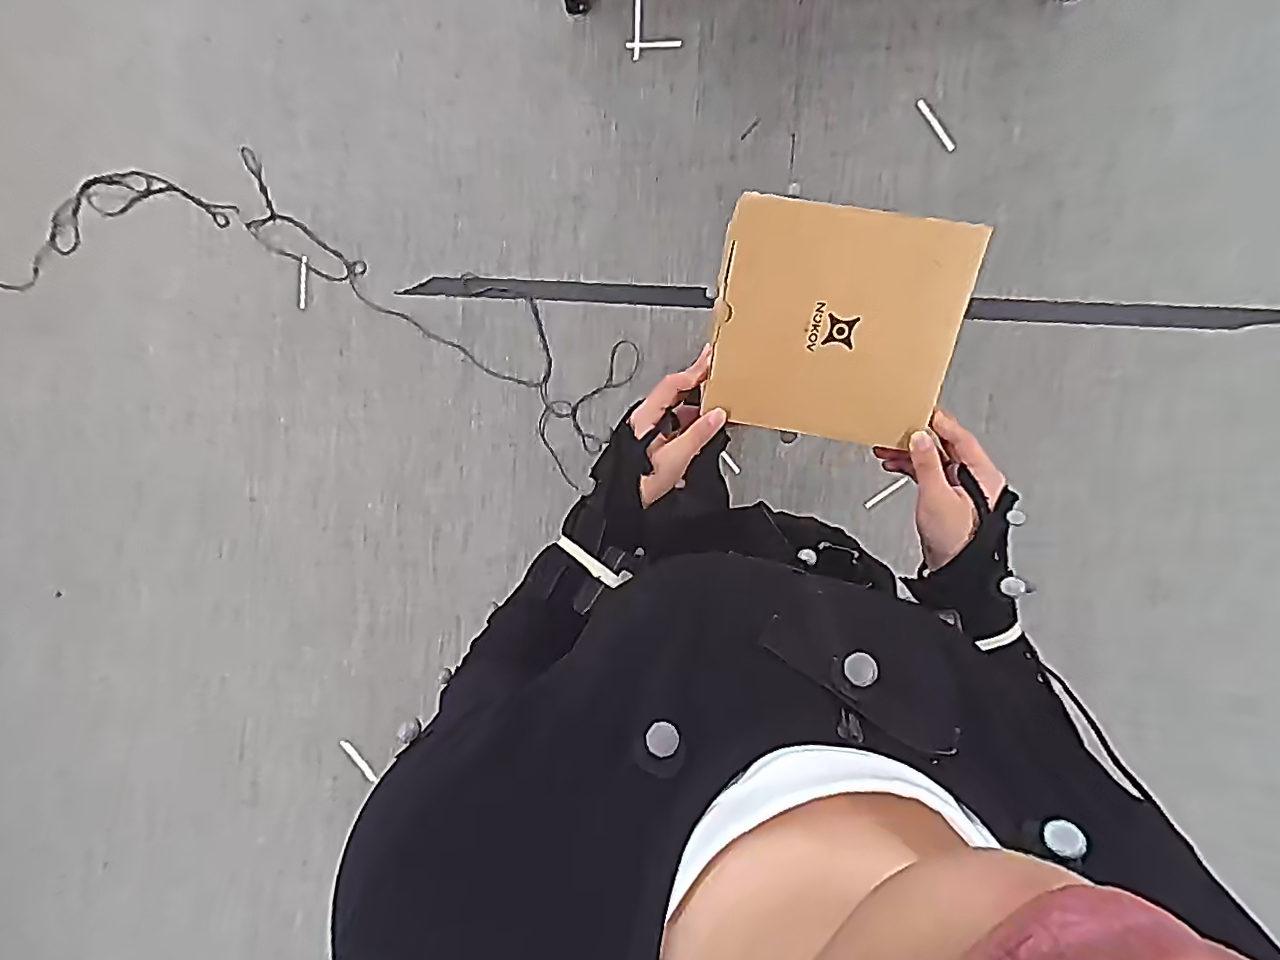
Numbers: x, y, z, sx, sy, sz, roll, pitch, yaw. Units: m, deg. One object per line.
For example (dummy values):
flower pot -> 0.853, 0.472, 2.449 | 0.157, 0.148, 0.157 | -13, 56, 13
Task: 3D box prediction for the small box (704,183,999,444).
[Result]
small box -> 0.156, -0.143, 0.471 | 0.179, 0.176, 0.168 | 10, 110, 4
